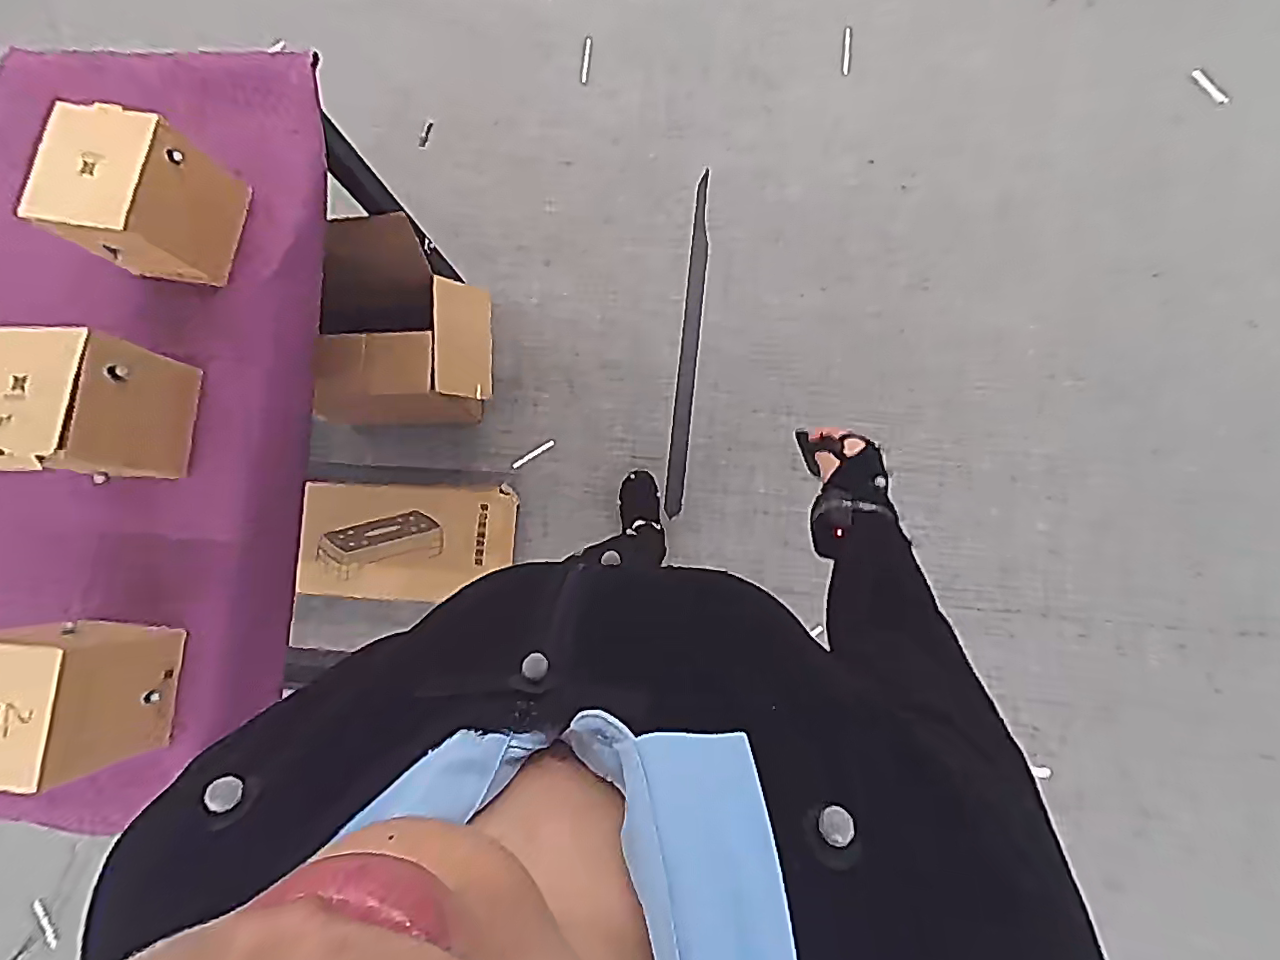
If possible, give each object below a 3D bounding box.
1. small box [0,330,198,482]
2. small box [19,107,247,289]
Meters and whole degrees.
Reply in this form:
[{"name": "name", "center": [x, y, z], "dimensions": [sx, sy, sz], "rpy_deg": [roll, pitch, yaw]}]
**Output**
[{"name": "small box", "center": [-0.783, -0.098, 0.771], "dimensions": [0.168, 0.176, 0.179], "rpy_deg": [2, 82, 7]}, {"name": "small box", "center": [-0.741, -0.411, 0.812], "dimensions": [0.168, 0.176, 0.179], "rpy_deg": [10, 83, 6]}]
